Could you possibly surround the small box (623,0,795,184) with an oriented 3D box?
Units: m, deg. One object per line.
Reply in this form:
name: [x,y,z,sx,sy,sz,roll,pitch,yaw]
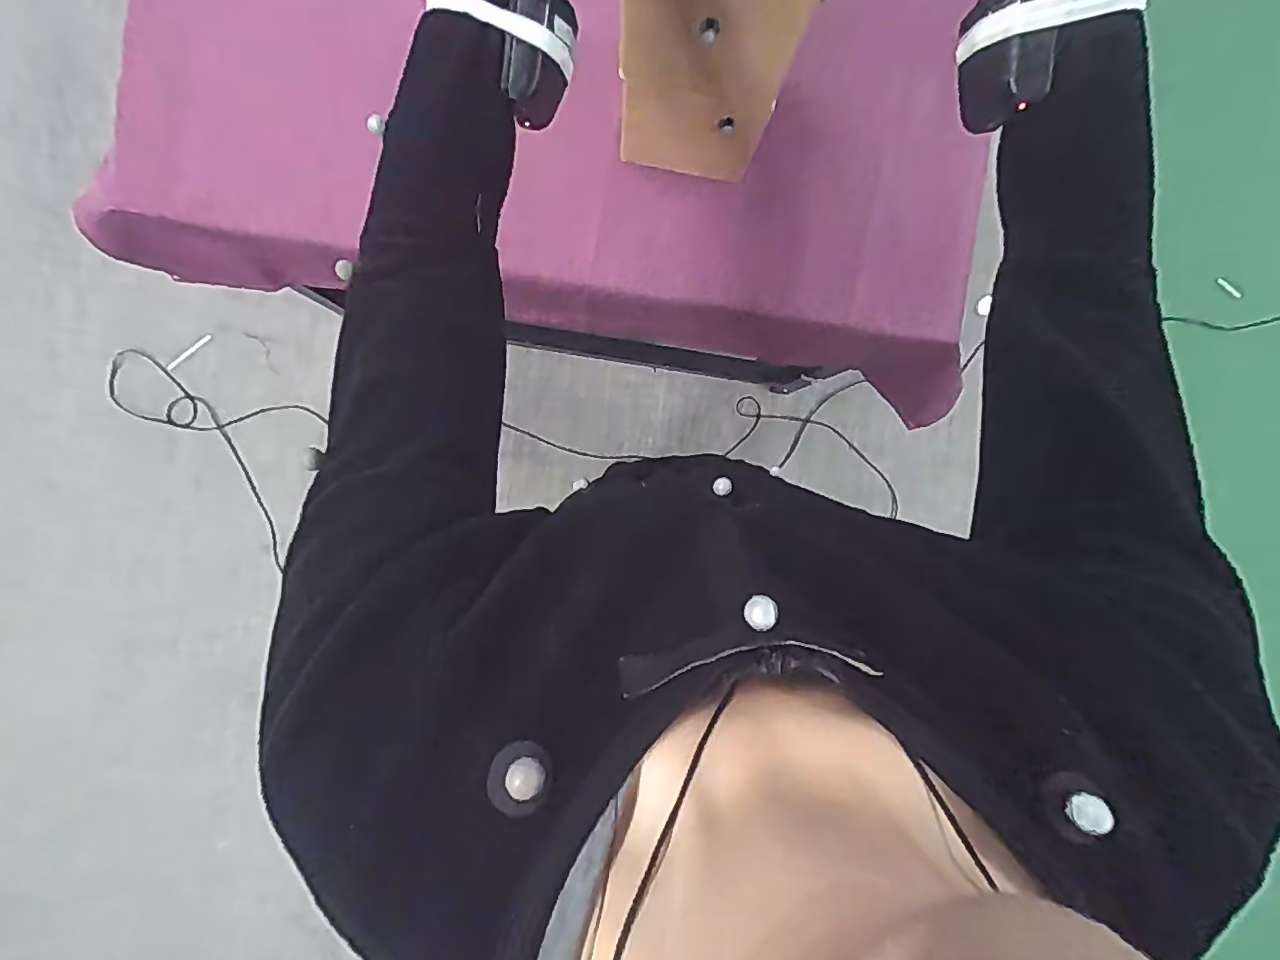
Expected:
small box: [0.077,-0.511,0.692,0.179,0.176,0.168,9,90,-3]
